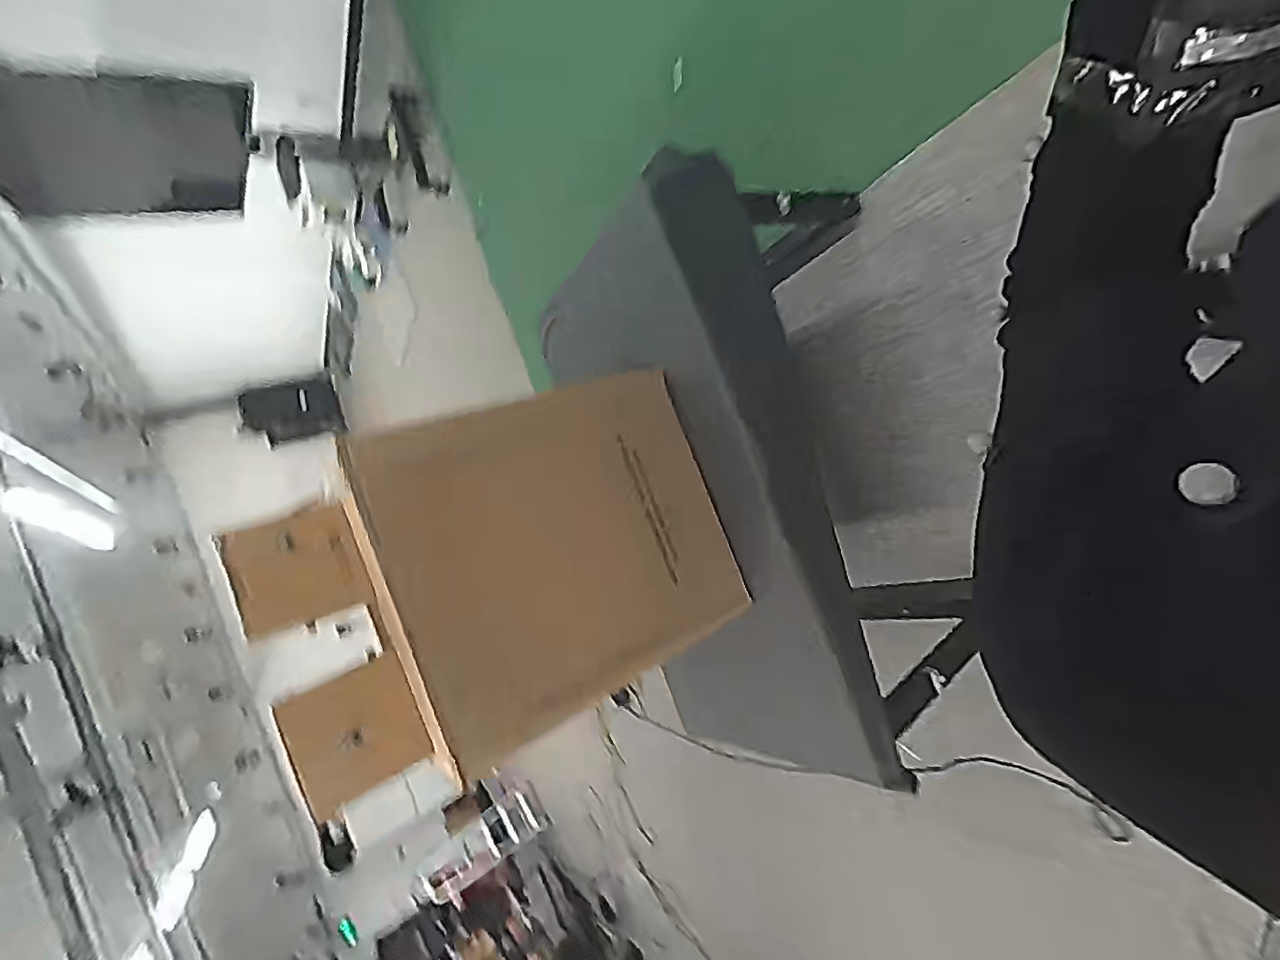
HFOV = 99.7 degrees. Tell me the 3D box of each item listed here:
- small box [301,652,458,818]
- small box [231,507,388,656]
[{"bbox_3d":[-0.414,0.385,0.857,0.168,0.176,0.179,-31,82,55],"label":"small box"},{"bbox_3d":[-0.522,0.160,0.866,0.179,0.176,0.168,-37,75,53],"label":"small box"}]
